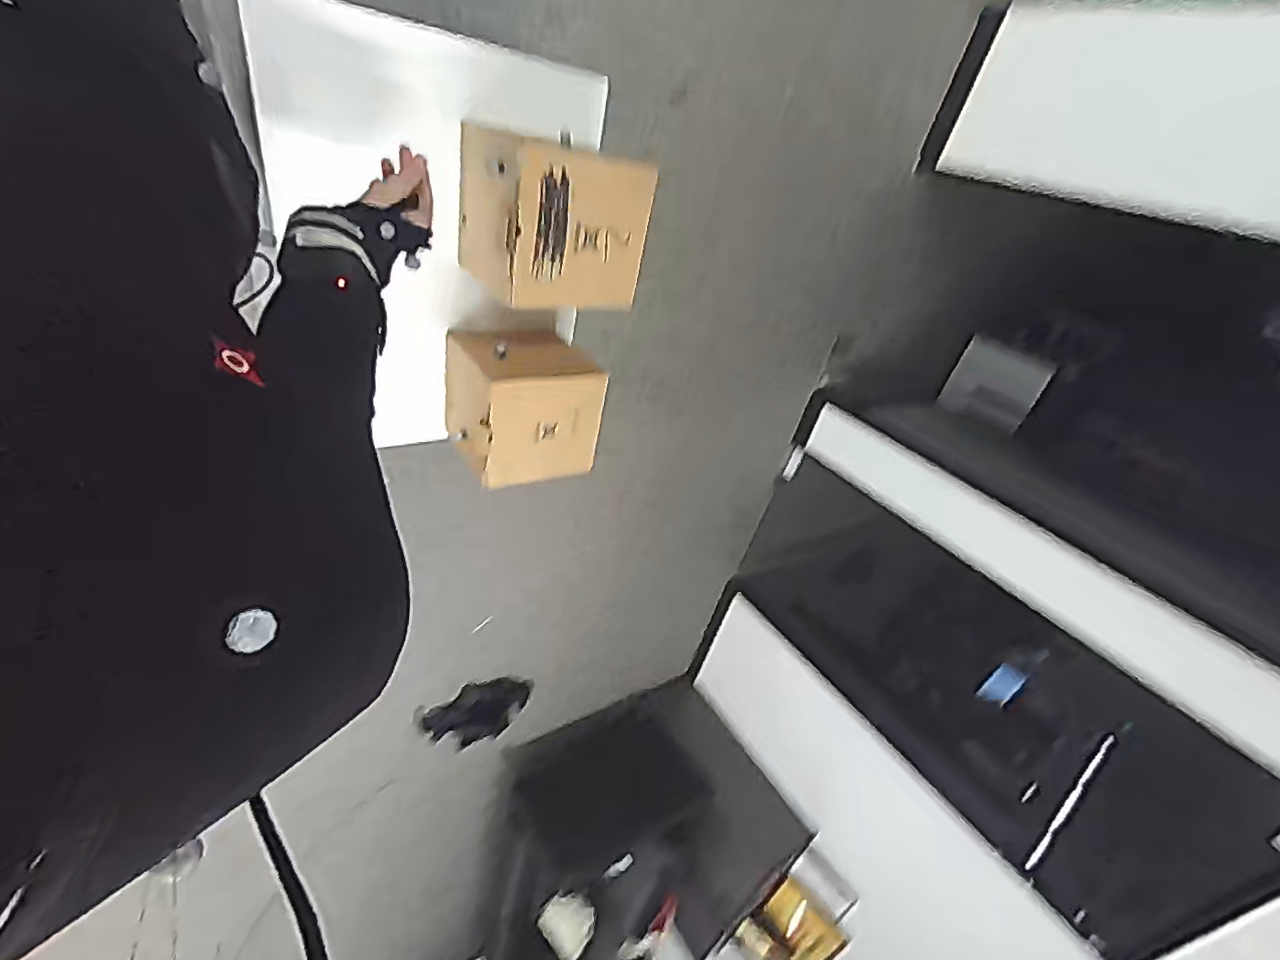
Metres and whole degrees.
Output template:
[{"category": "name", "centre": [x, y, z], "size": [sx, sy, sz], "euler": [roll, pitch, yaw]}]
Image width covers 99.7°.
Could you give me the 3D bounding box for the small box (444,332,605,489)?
[{"category": "small box", "centre": [-0.180, -0.111, 0.801], "size": [0.179, 0.176, 0.168], "euler": [-13, 132, -35]}]
